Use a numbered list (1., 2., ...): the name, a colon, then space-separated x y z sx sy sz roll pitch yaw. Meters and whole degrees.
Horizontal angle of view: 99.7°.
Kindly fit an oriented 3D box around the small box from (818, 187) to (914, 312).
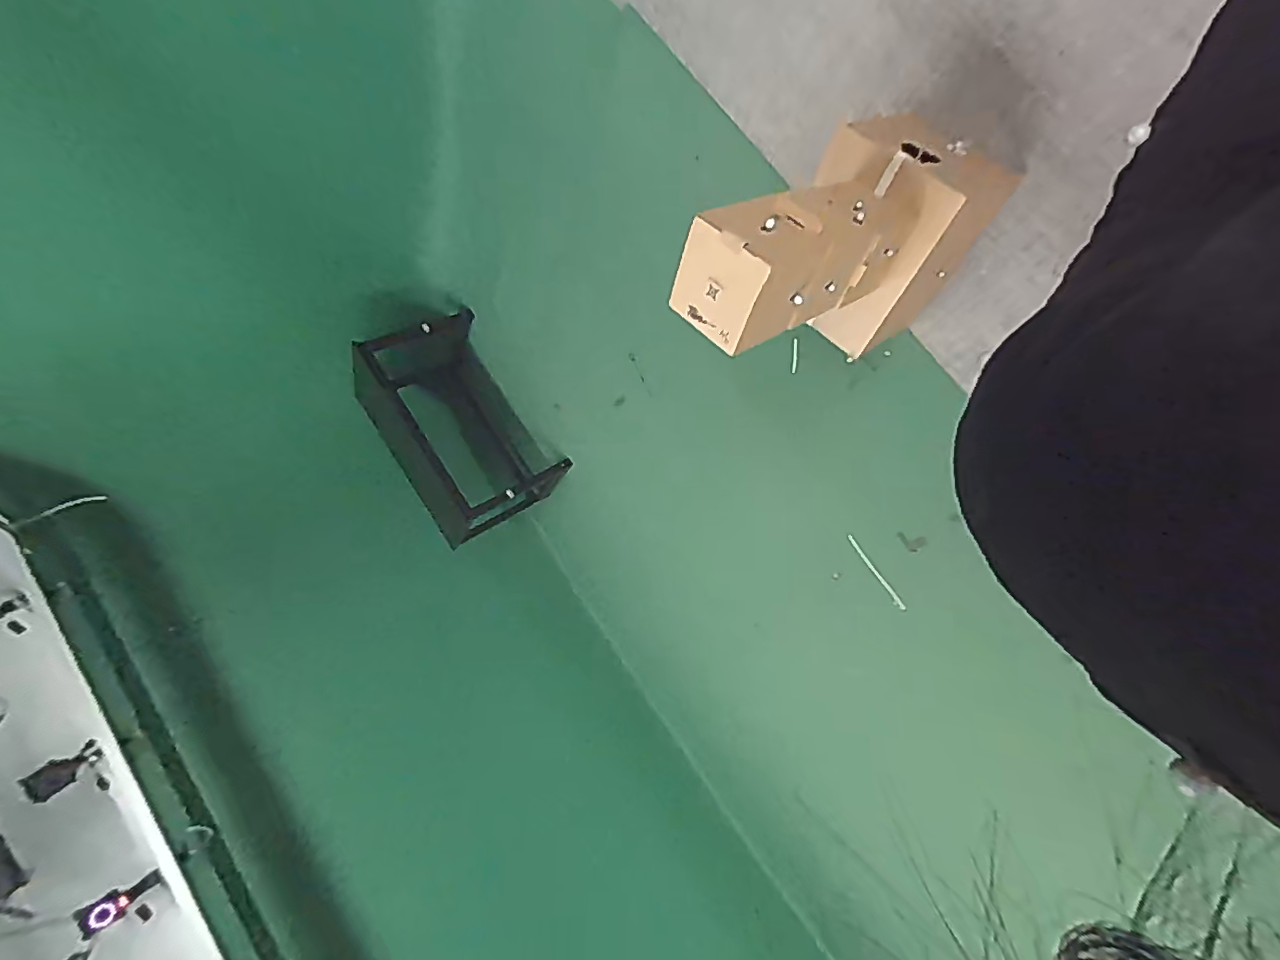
1. small box: 0.425 -0.485 1.123 0.179 0.176 0.168 46 144 20

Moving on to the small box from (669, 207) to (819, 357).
1. small box: 0.184 -0.352 0.946 0.168 0.176 0.179 46 143 20

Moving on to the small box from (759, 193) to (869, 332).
1. small box: 0.306 -0.421 1.033 0.168 0.176 0.179 45 144 21

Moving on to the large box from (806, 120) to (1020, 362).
1. large box: 0.585 -0.571 1.292 0.320 0.320 0.408 47 146 21
